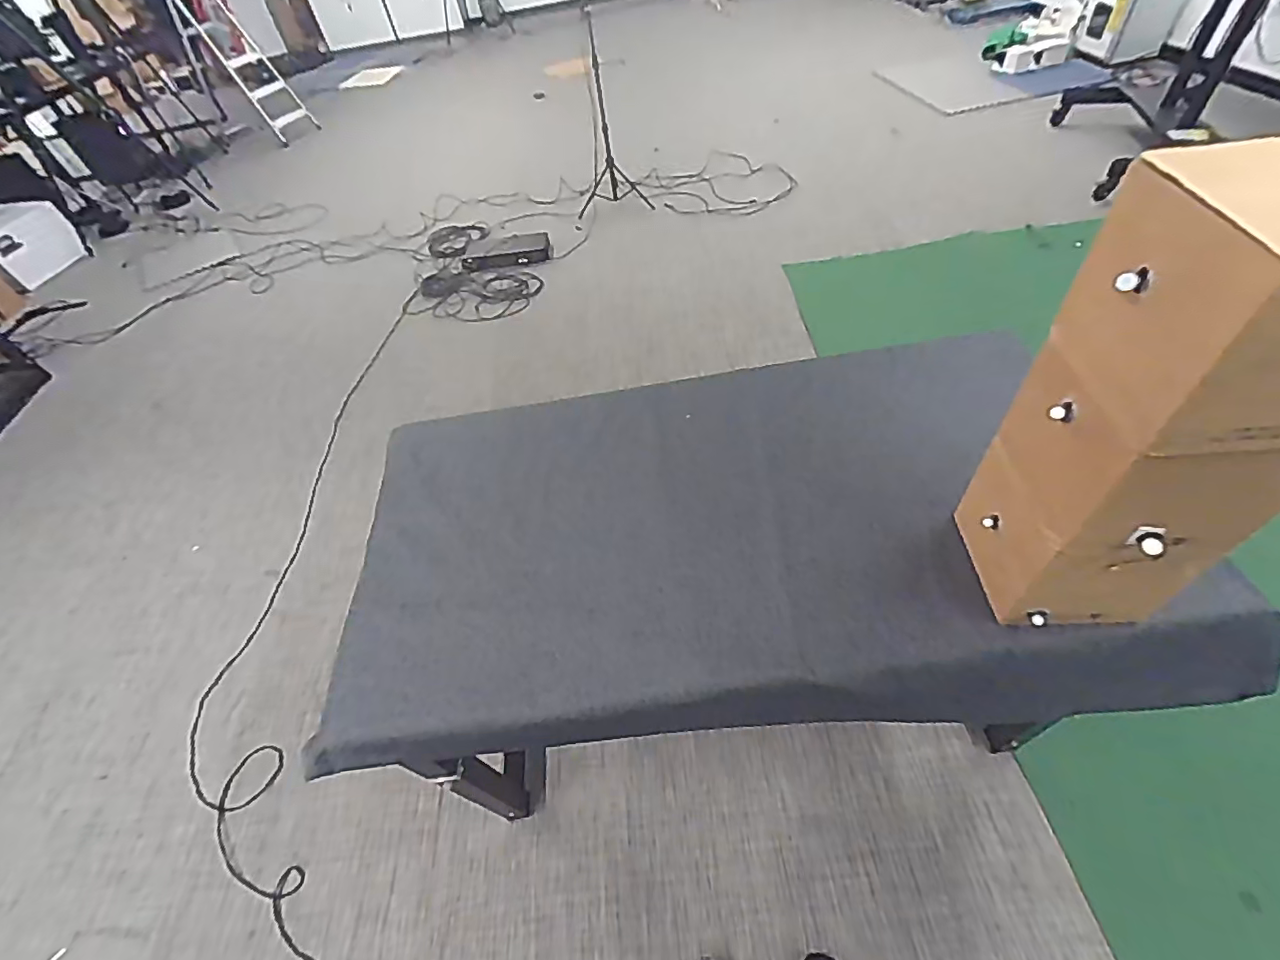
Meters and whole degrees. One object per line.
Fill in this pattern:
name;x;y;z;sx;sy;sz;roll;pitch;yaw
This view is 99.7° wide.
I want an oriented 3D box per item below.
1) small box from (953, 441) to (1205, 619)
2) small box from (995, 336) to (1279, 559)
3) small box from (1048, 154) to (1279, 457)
small box;0.529;0.065;0.684;0.168;0.176;0.179;-3;49;7
small box;0.506;-0.036;0.559;0.168;0.176;0.179;-3;50;8
small box;0.478;-0.139;0.435;0.168;0.176;0.179;-3;49;8
